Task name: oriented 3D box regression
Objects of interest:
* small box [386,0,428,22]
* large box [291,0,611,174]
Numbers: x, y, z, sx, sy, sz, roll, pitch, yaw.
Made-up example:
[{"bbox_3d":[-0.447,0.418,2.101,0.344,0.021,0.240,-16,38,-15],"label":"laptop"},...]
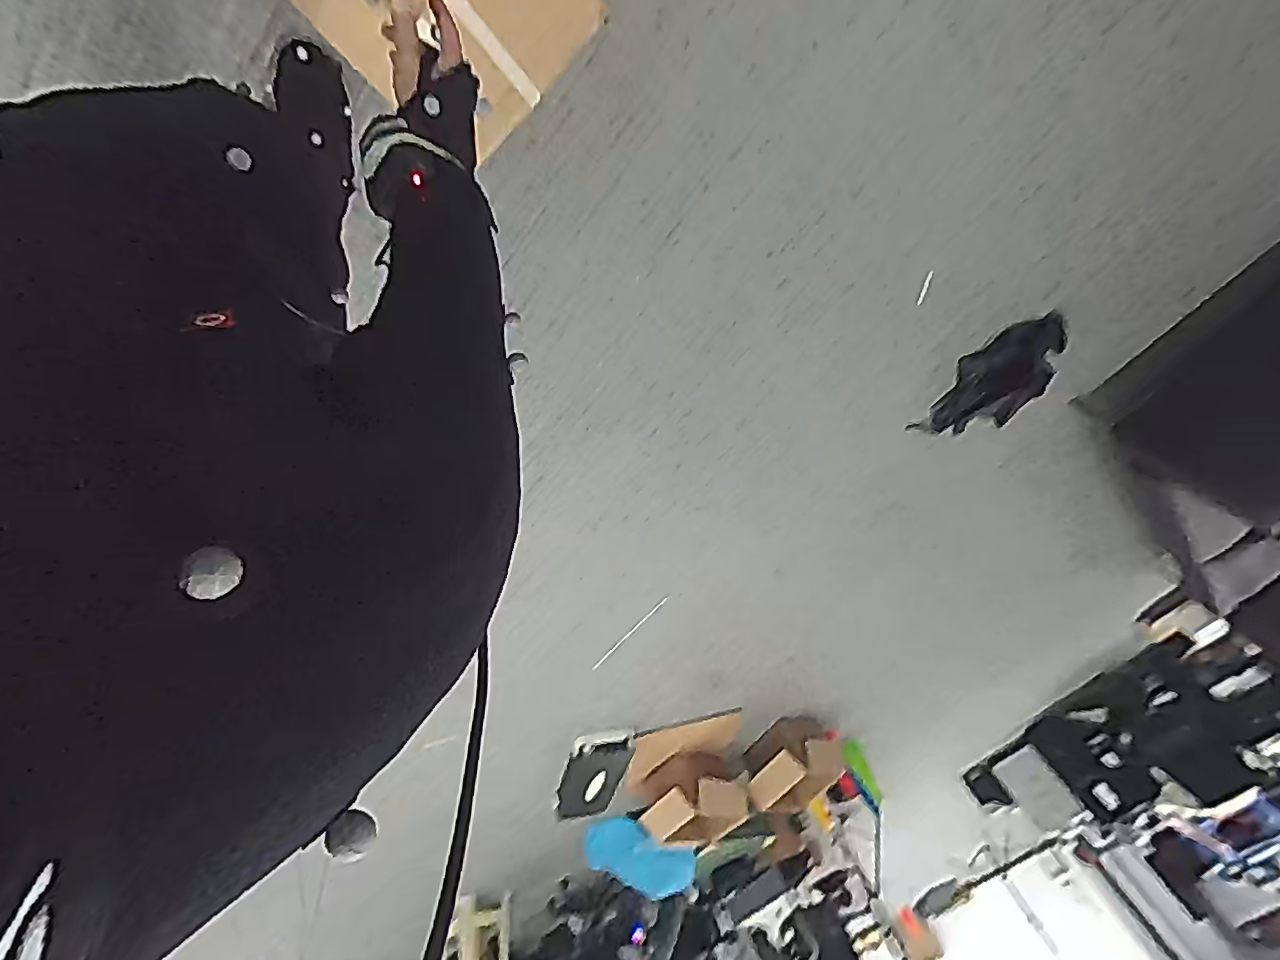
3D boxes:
[{"bbox_3d":[-0.219,-0.530,0.444,0.168,0.176,0.179,-44,129,14],"label":"small box"},{"bbox_3d":[-0.316,-0.744,0.779,0.320,0.320,0.408,-40,131,14],"label":"large box"}]
